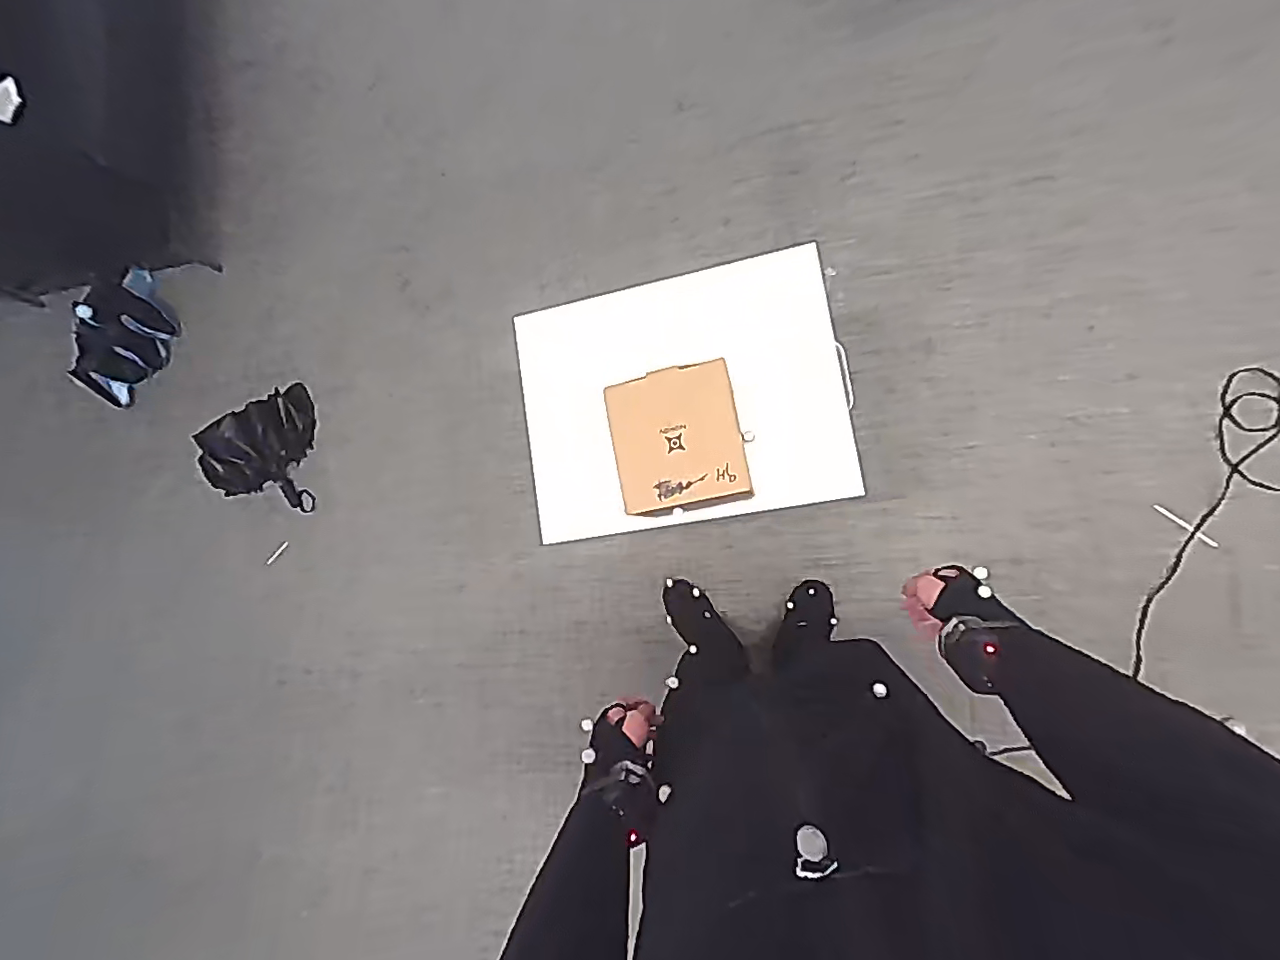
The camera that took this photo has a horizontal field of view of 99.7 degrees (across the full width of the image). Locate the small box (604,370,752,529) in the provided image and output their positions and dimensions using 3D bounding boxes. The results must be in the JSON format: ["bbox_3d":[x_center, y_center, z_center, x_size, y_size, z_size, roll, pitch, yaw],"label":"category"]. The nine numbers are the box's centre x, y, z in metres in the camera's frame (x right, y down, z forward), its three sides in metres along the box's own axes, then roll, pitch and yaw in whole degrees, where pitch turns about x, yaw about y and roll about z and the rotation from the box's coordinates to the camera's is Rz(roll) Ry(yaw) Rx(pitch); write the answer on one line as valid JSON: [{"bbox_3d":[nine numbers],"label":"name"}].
[{"bbox_3d":[0.061,-0.032,0.771,0.168,0.176,0.179,-13,80,11],"label":"small box"}]
